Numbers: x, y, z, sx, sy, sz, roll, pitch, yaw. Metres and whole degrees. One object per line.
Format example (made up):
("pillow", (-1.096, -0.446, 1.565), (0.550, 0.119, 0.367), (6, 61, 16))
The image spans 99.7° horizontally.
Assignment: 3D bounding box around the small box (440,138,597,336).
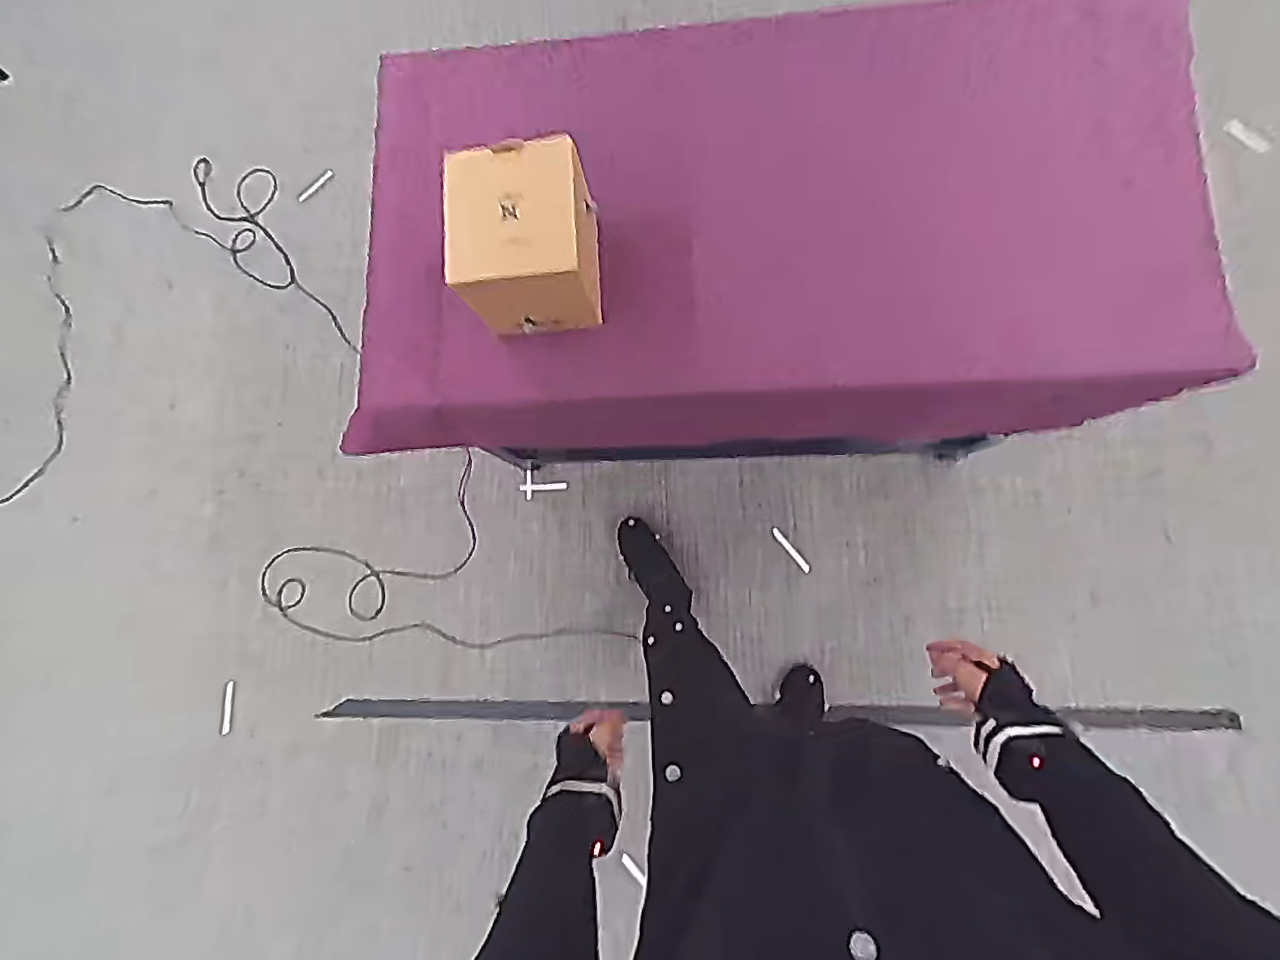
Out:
("small box", (-0.154, -0.315, 0.732), (0.168, 0.176, 0.179), (-4, 82, 6))
